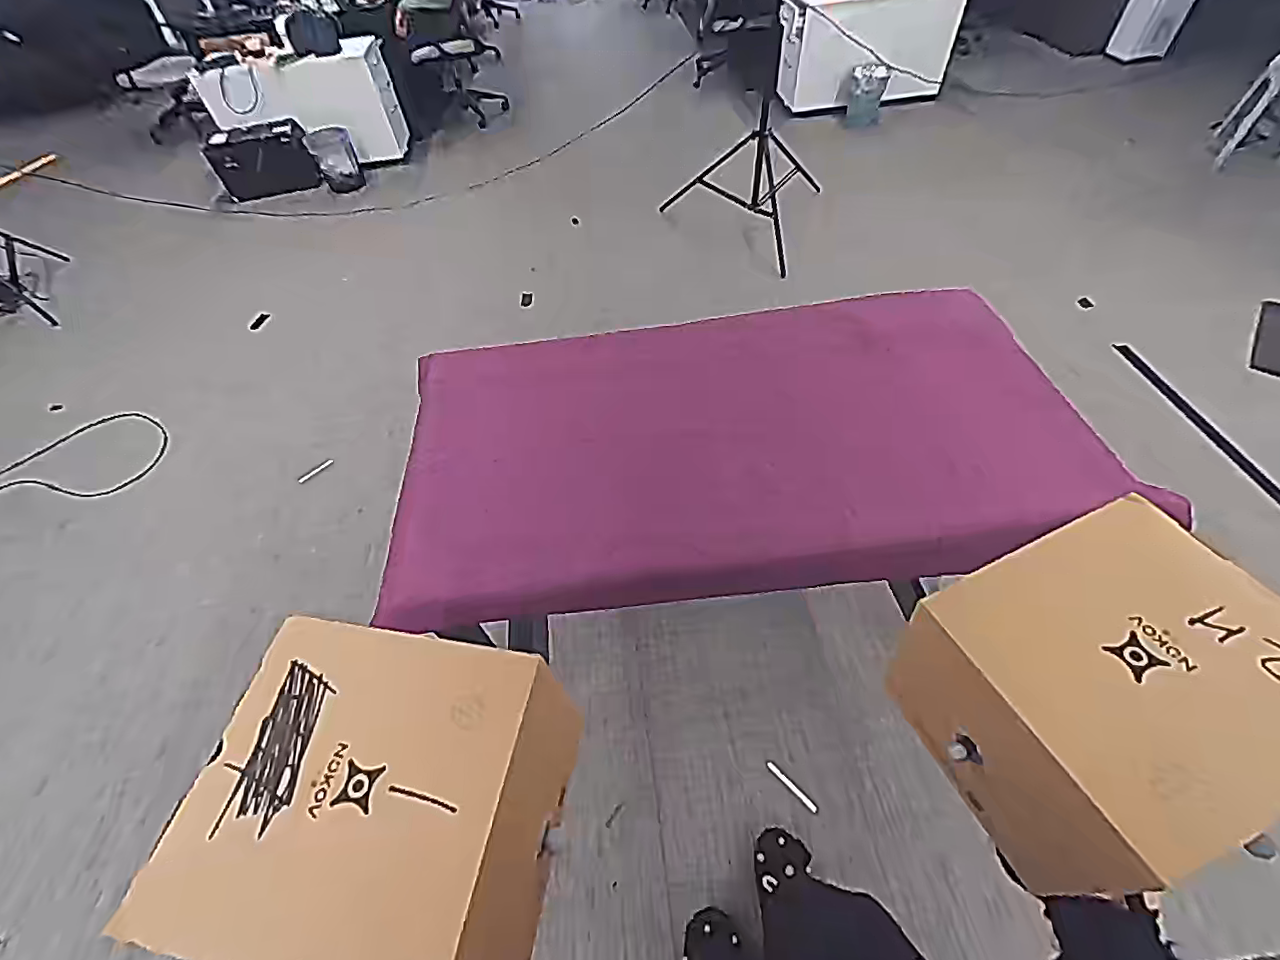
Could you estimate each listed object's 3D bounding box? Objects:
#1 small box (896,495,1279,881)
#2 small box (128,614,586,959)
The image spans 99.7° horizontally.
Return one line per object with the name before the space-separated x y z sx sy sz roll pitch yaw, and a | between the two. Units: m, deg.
small box | 0.304 0.148 0.374 0.179 0.176 0.168 -24 52 -6
small box | -0.147 0.208 0.359 0.179 0.176 0.168 6 56 9
